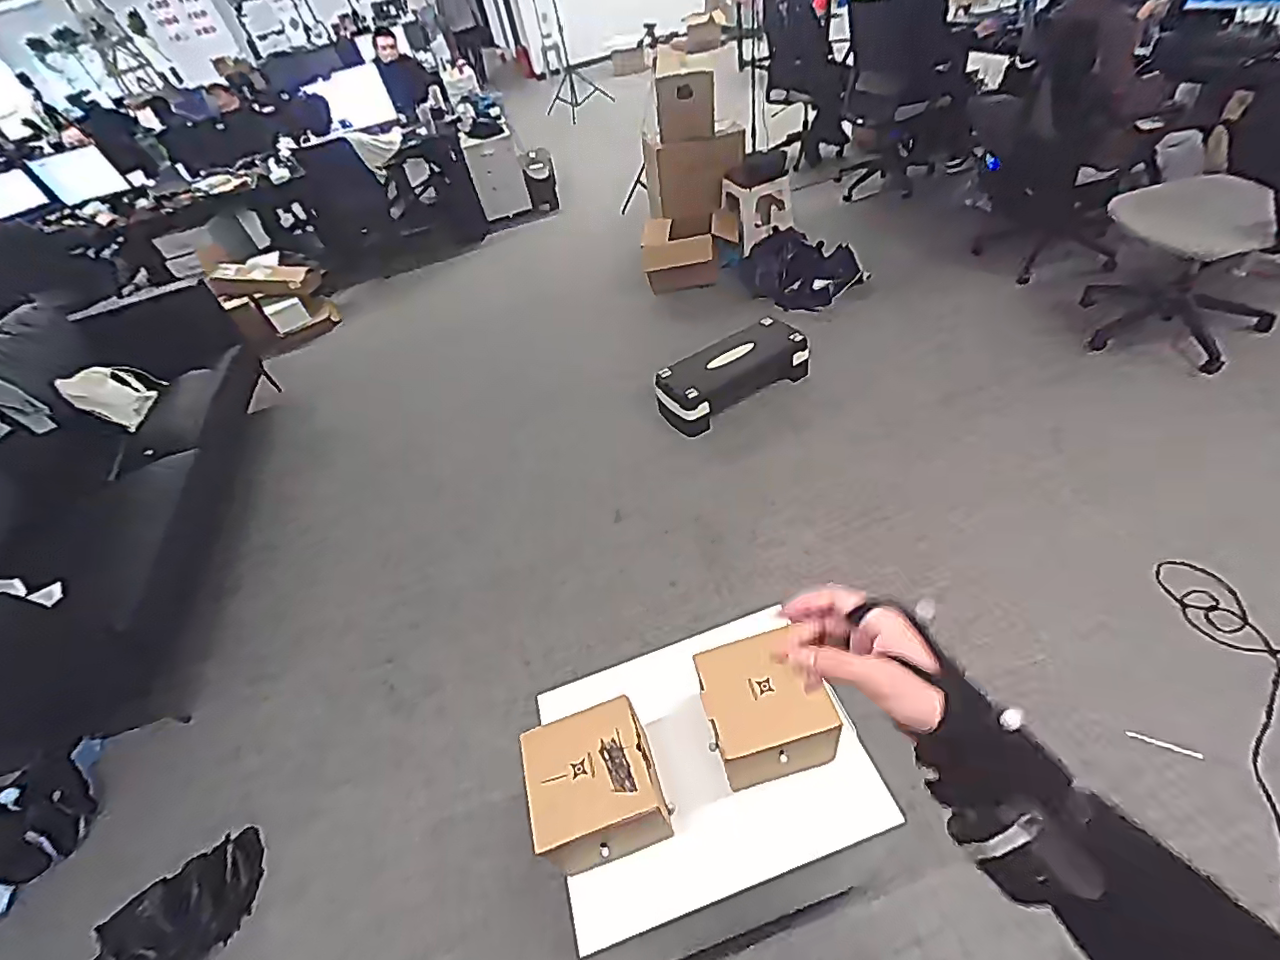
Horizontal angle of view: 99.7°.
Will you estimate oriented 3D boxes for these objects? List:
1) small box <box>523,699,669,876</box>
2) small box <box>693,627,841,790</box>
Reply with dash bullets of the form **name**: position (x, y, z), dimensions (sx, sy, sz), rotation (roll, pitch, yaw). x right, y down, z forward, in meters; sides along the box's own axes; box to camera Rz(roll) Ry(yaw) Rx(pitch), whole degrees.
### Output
- **small box**: position (-0.062, 0.471, 0.828), dimensions (0.179, 0.176, 0.168), rotation (-19, 44, -4)
- **small box**: position (0.199, 0.368, 0.863), dimensions (0.179, 0.176, 0.168), rotation (-16, 46, -2)
